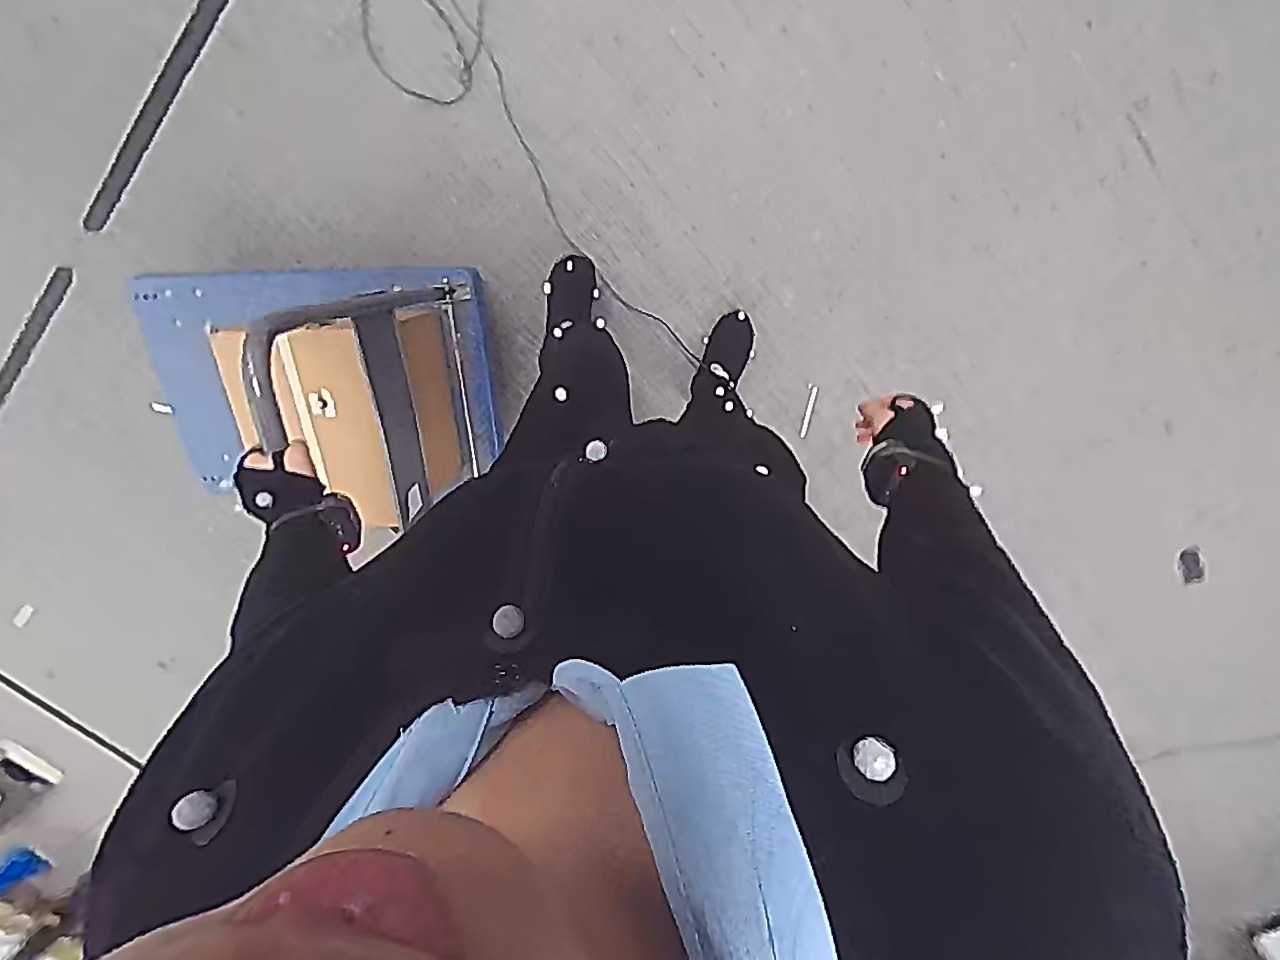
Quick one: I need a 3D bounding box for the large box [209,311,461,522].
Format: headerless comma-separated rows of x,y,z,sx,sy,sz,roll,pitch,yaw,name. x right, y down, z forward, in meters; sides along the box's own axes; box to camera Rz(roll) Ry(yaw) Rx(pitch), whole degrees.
-0.631,-0.152,1.202,0.320,0.320,0.408,1,113,5,large box
